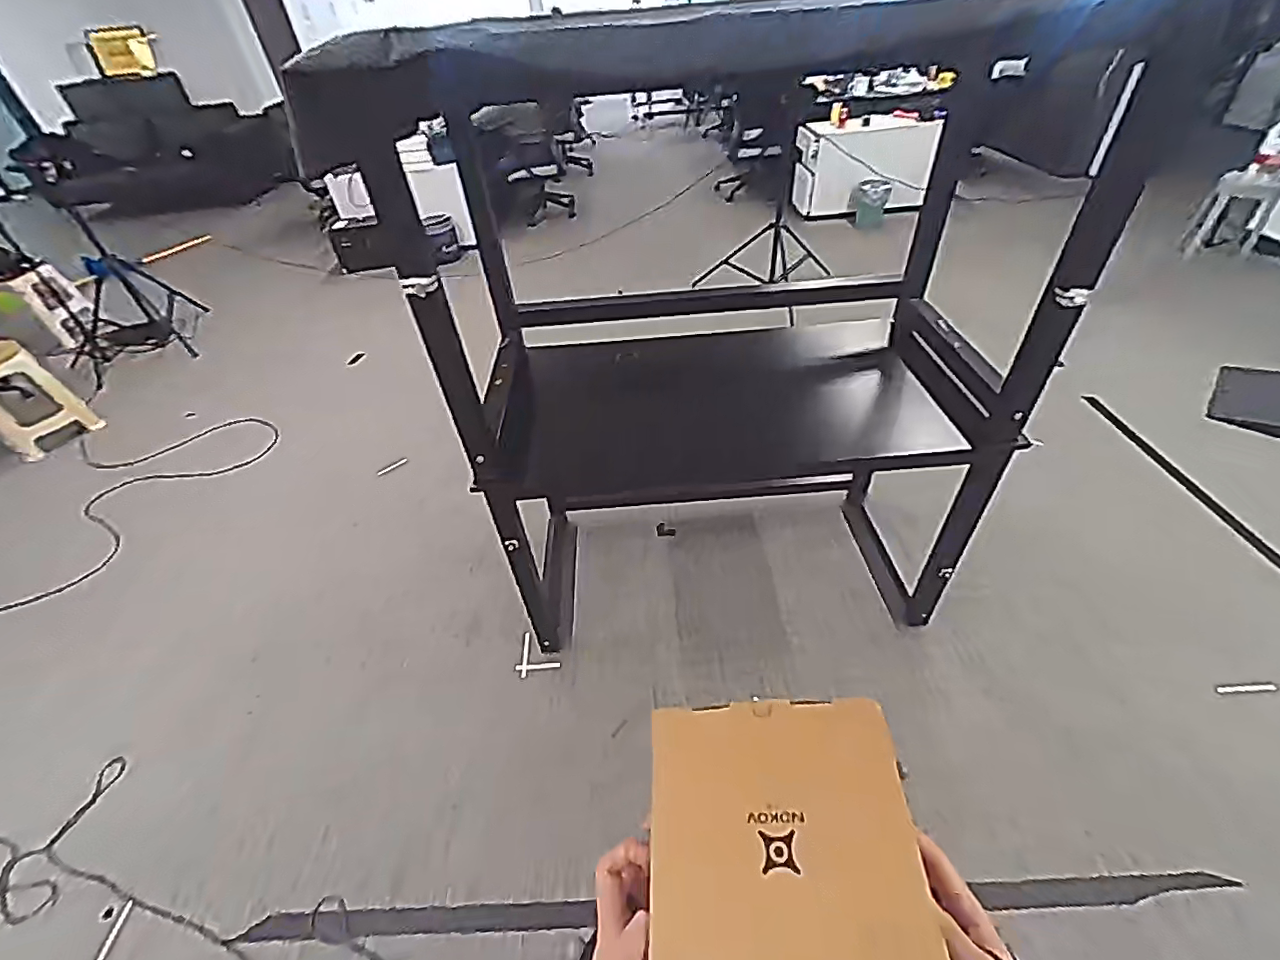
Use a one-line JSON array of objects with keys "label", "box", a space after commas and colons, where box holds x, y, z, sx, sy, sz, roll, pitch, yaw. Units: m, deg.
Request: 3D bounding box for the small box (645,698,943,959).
[{"label": "small box", "box": [0.101, 0.282, 0.394, 0.168, 0.176, 0.179, -7, 44, 9]}]
